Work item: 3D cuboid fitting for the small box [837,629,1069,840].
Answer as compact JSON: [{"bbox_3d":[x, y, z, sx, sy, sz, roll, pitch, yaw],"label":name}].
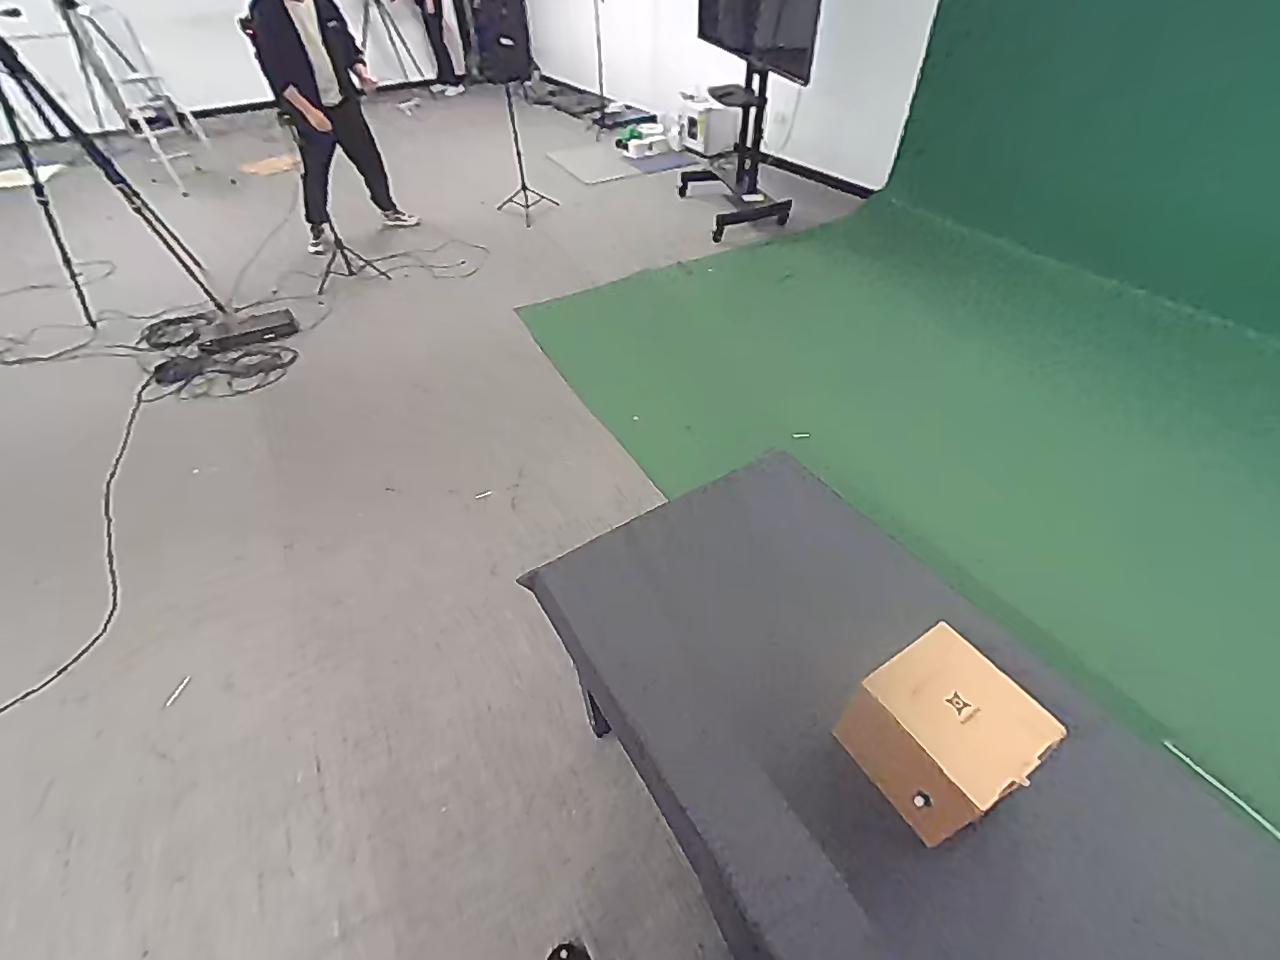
[{"bbox_3d":[0.395,0.340,0.715,0.168,0.176,0.179,-24,49,-22],"label":"small box"}]
